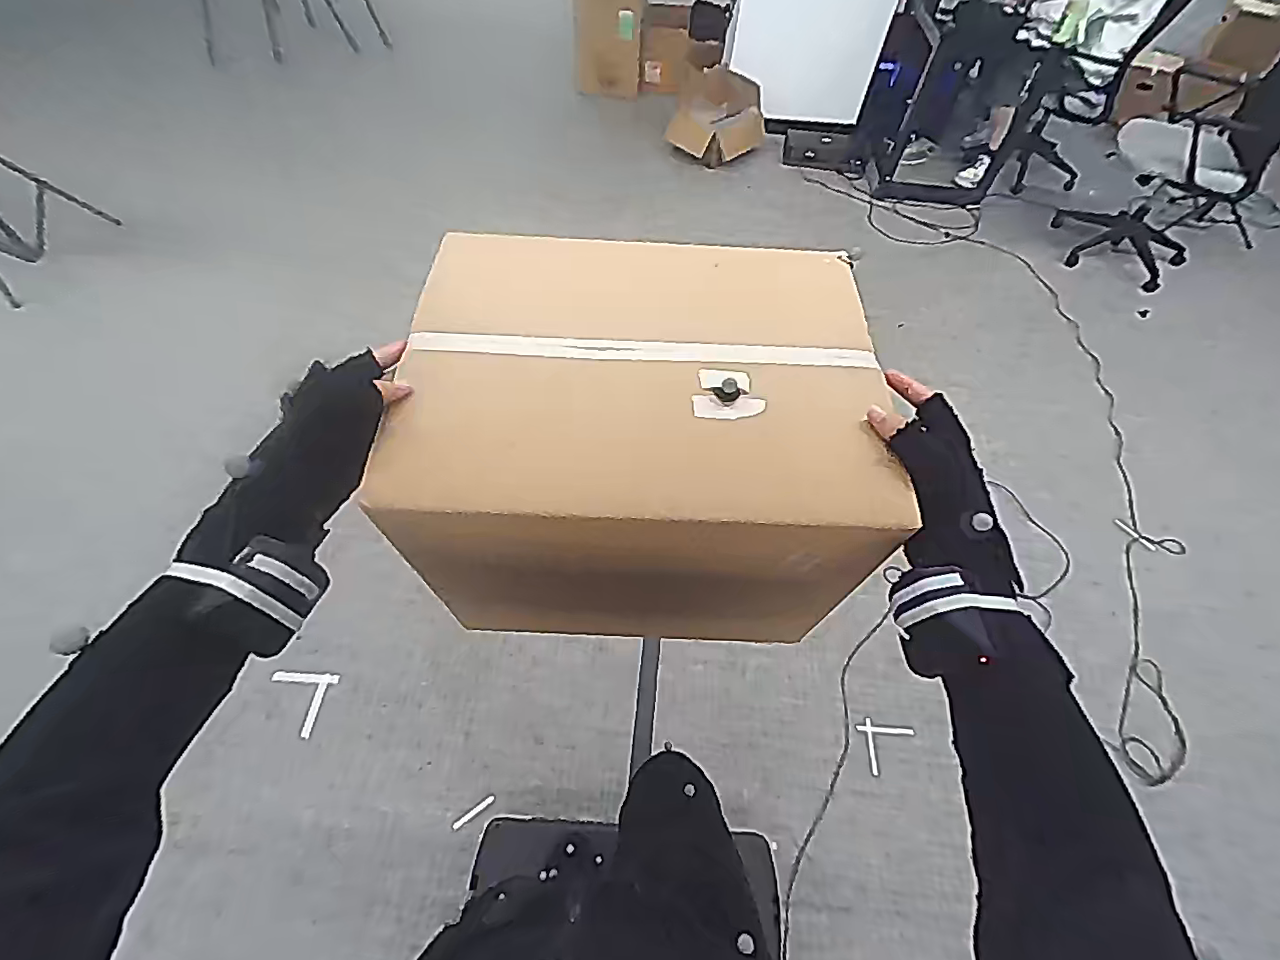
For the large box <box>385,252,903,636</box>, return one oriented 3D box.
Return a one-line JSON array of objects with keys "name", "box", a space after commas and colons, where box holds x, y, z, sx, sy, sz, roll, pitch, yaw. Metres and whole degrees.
[{"name": "large box", "box": [0.000, -0.021, 0.611, 0.408, 0.320, 0.320, 3, 59, -1]}]
